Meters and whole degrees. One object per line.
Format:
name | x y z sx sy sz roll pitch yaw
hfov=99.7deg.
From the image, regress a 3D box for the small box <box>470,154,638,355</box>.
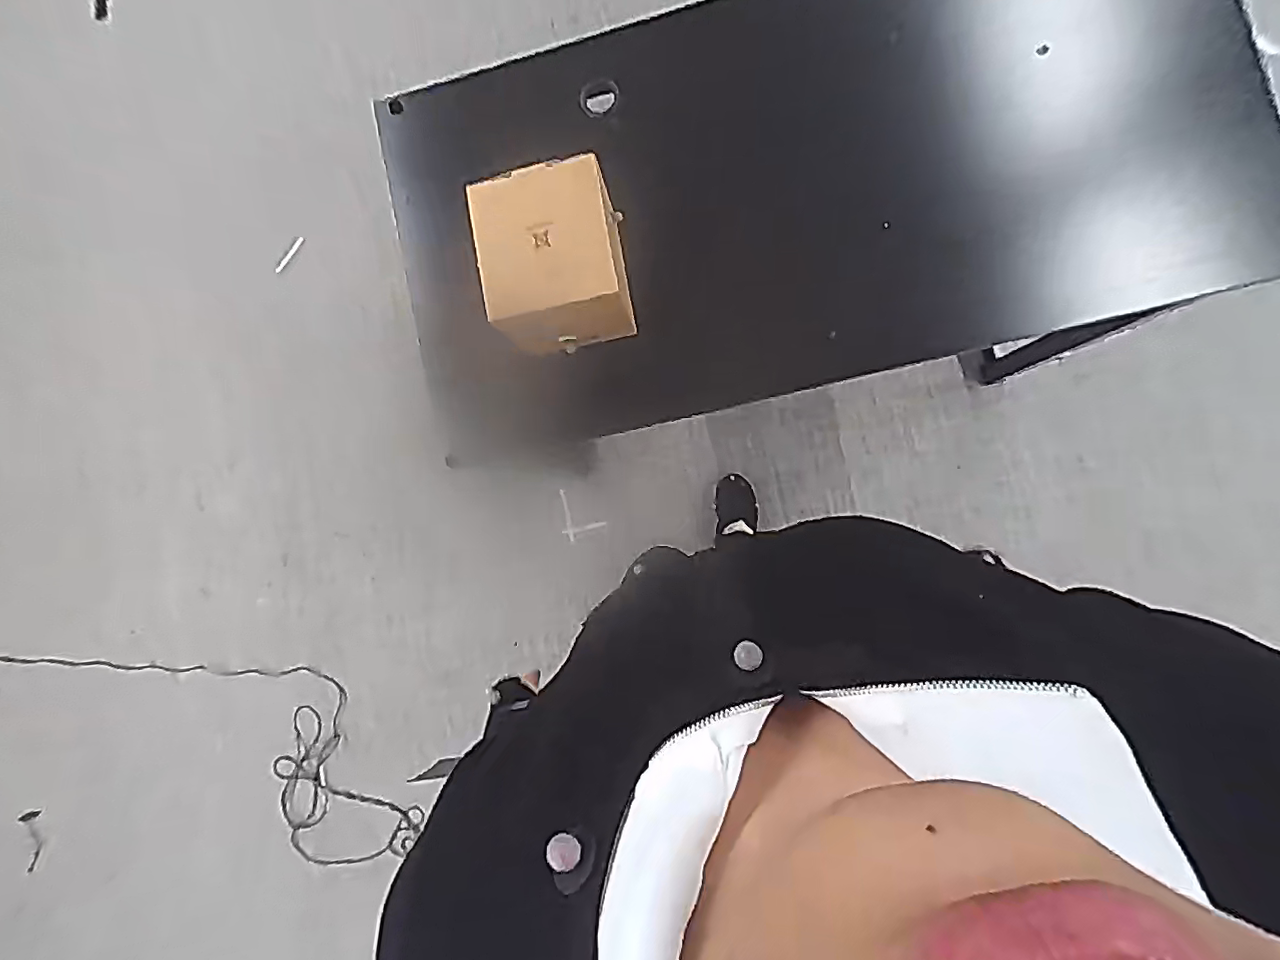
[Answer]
small box | -0.105 -0.288 0.728 0.168 0.176 0.179 -11 87 7
